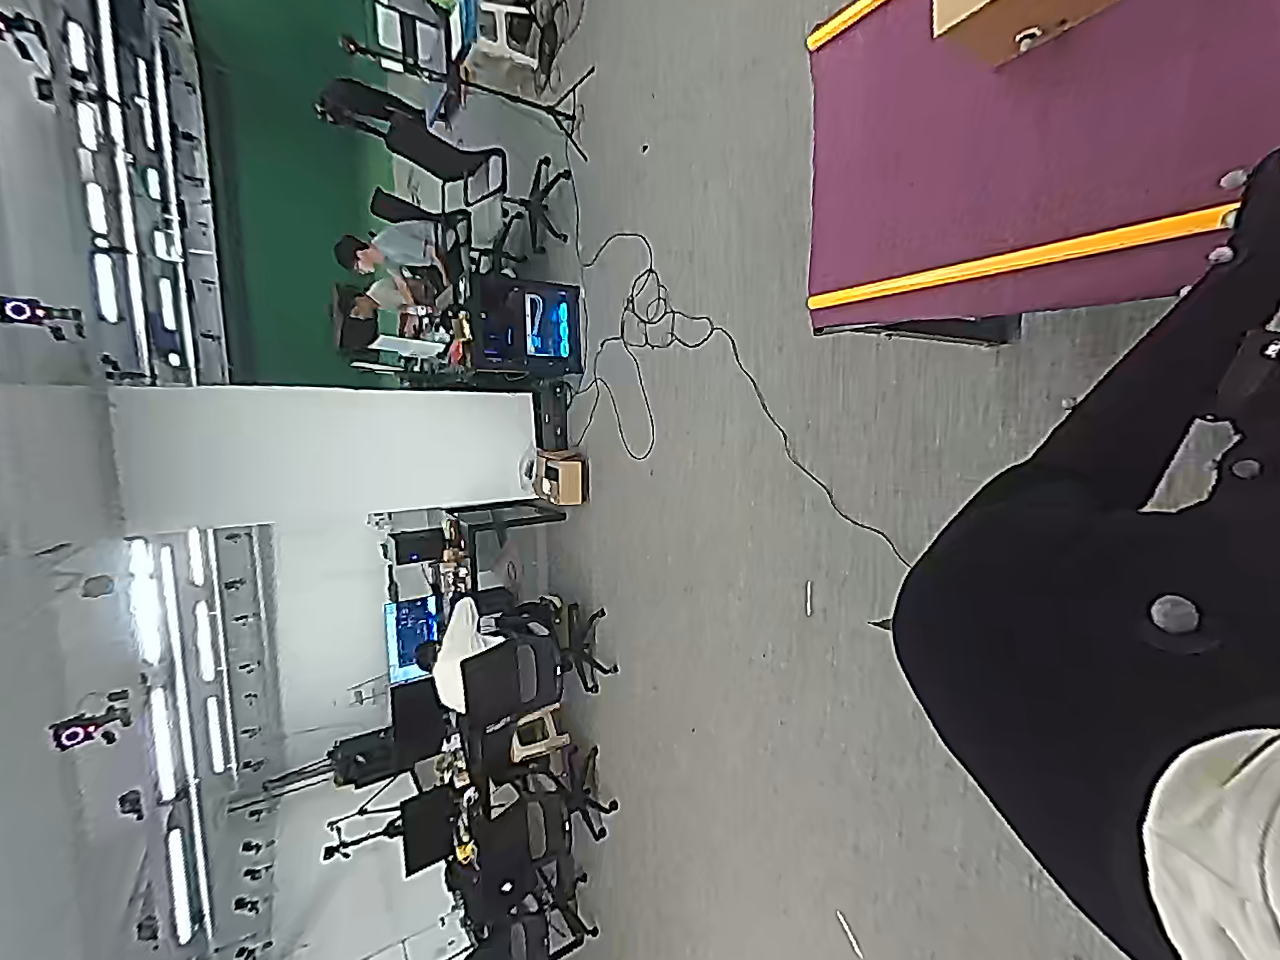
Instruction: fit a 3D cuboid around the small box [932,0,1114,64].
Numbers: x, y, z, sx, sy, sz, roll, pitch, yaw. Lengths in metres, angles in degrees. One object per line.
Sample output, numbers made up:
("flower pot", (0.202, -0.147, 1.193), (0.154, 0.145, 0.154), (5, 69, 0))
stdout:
("small box", (0.515, -0.711, 0.720), (0.168, 0.176, 0.179), (5, 100, 58))
